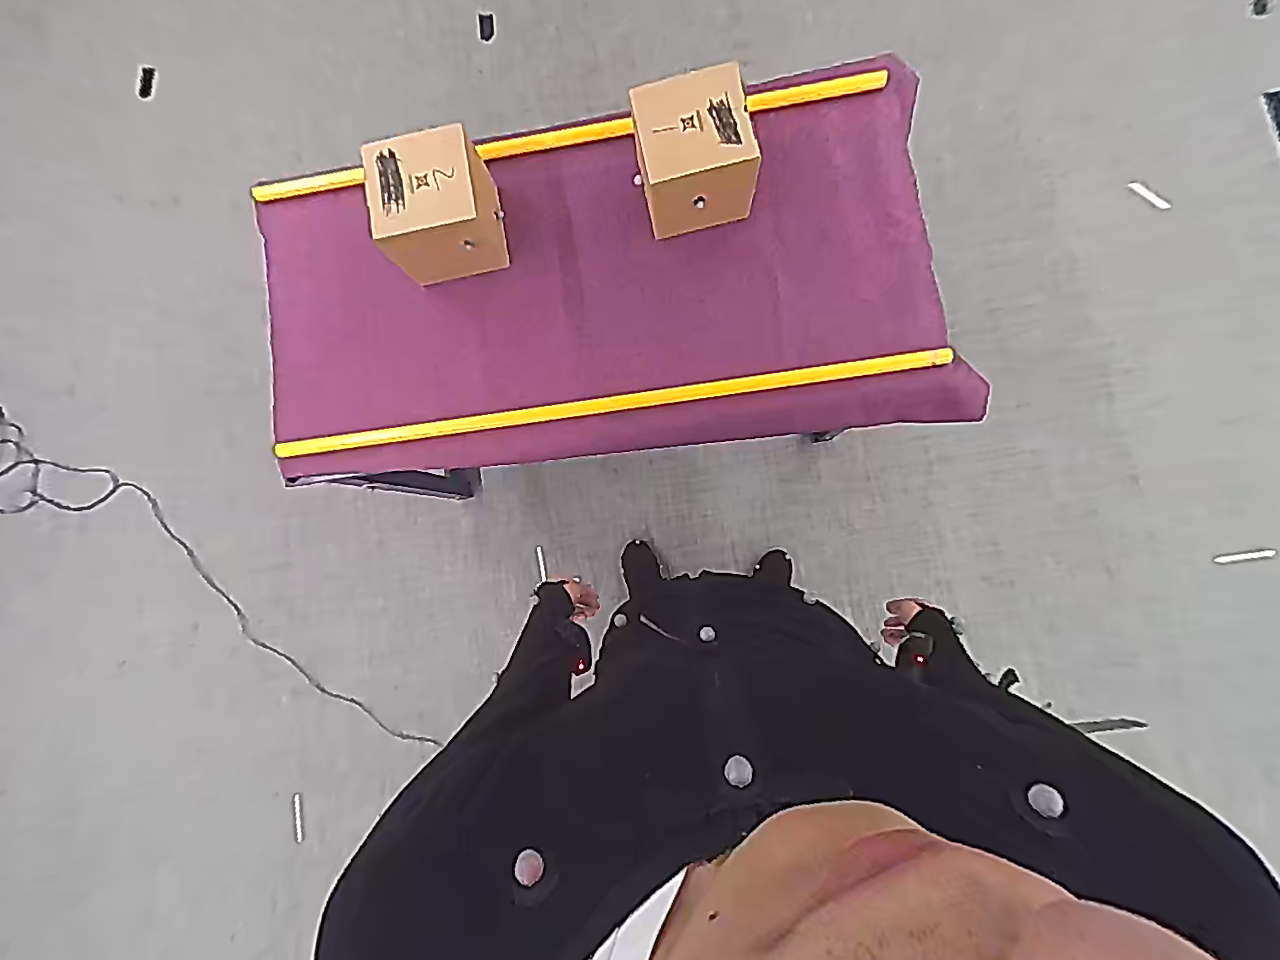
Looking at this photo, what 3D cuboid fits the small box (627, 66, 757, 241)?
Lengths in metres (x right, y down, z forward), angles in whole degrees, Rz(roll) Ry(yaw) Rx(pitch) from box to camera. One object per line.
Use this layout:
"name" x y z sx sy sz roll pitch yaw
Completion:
"small box" 0.085 -0.533 0.906 0.179 0.176 0.168 -12 84 5
